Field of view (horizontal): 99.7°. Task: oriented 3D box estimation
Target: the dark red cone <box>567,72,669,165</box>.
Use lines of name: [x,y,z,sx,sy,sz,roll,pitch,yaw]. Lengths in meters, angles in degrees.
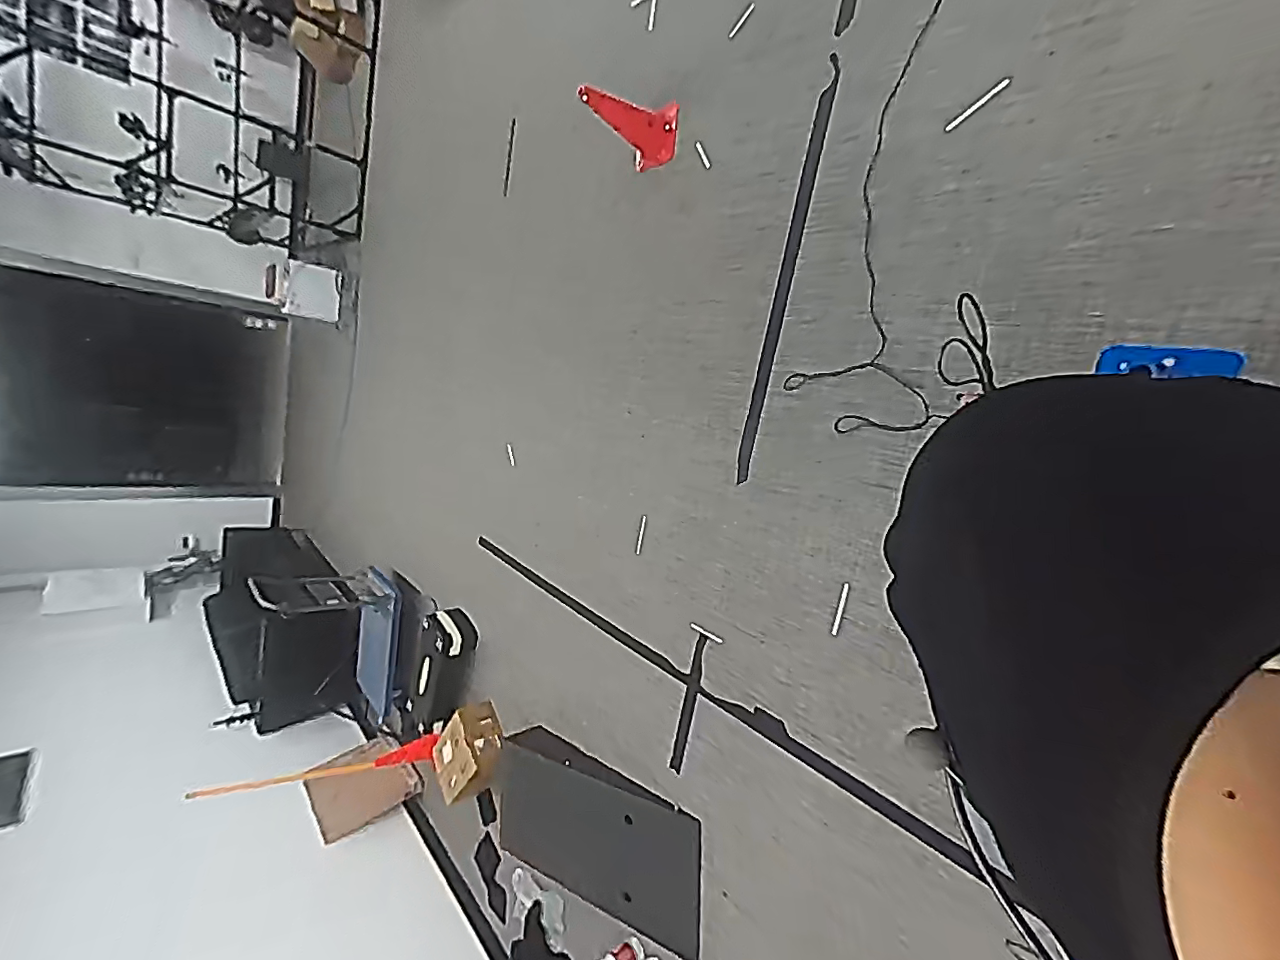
dark red cone: [-0.087,-1.275,1.859,0.201,0.394,0.202,10,96,45]
